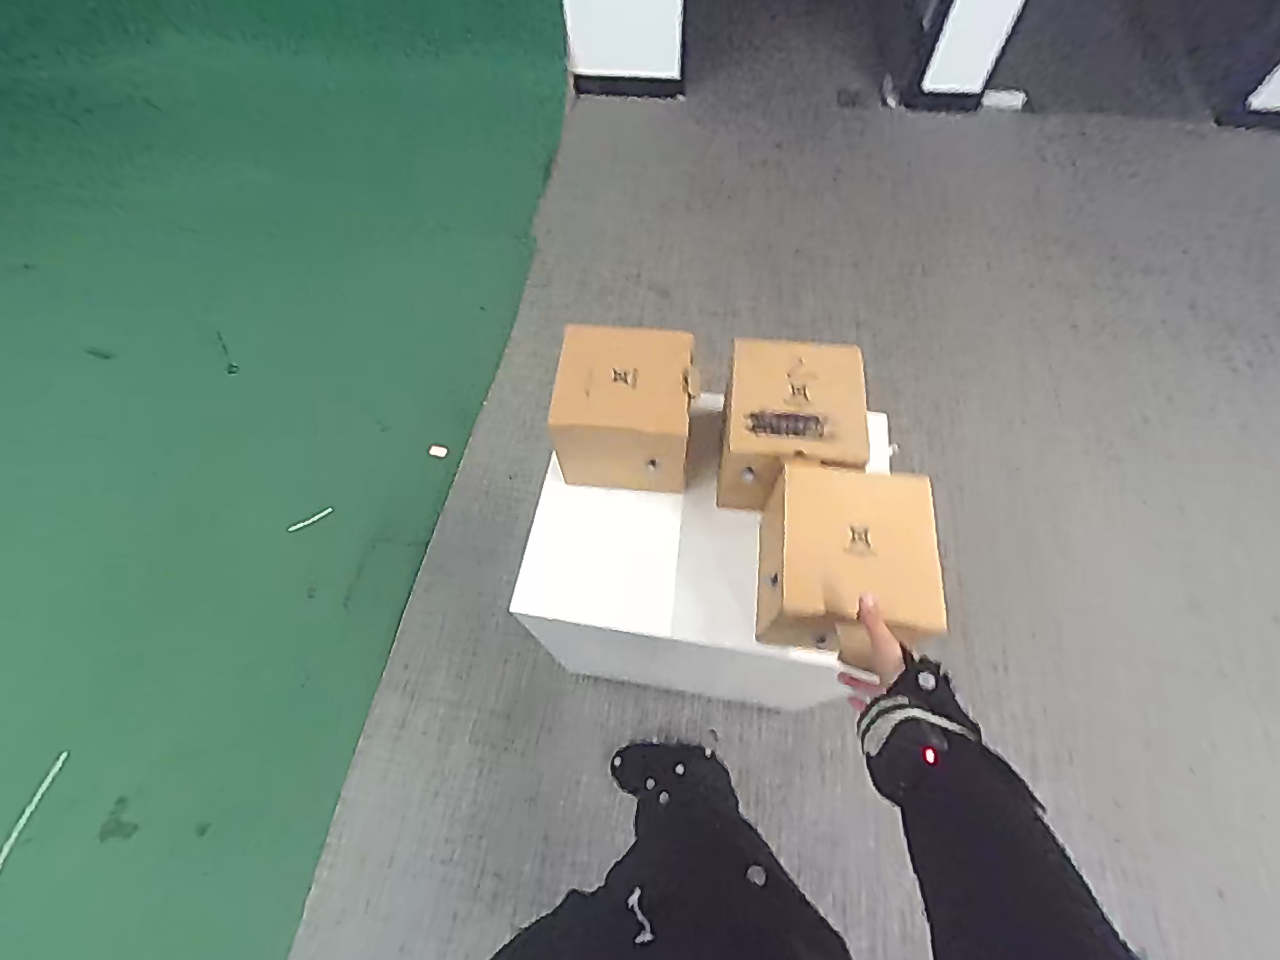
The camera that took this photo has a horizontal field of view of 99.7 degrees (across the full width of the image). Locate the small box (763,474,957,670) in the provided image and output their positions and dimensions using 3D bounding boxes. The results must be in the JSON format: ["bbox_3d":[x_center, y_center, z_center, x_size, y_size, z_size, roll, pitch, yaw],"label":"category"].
[{"bbox_3d":[0.246,0.115,0.650,0.168,0.176,0.179,6,61,5],"label":"small box"}]

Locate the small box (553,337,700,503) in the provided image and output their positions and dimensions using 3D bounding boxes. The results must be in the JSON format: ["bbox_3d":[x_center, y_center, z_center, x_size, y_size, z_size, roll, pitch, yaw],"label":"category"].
[{"bbox_3d":[-0.012,-0.078,0.764,0.179,0.176,0.168,4,61,4],"label":"small box"}]
